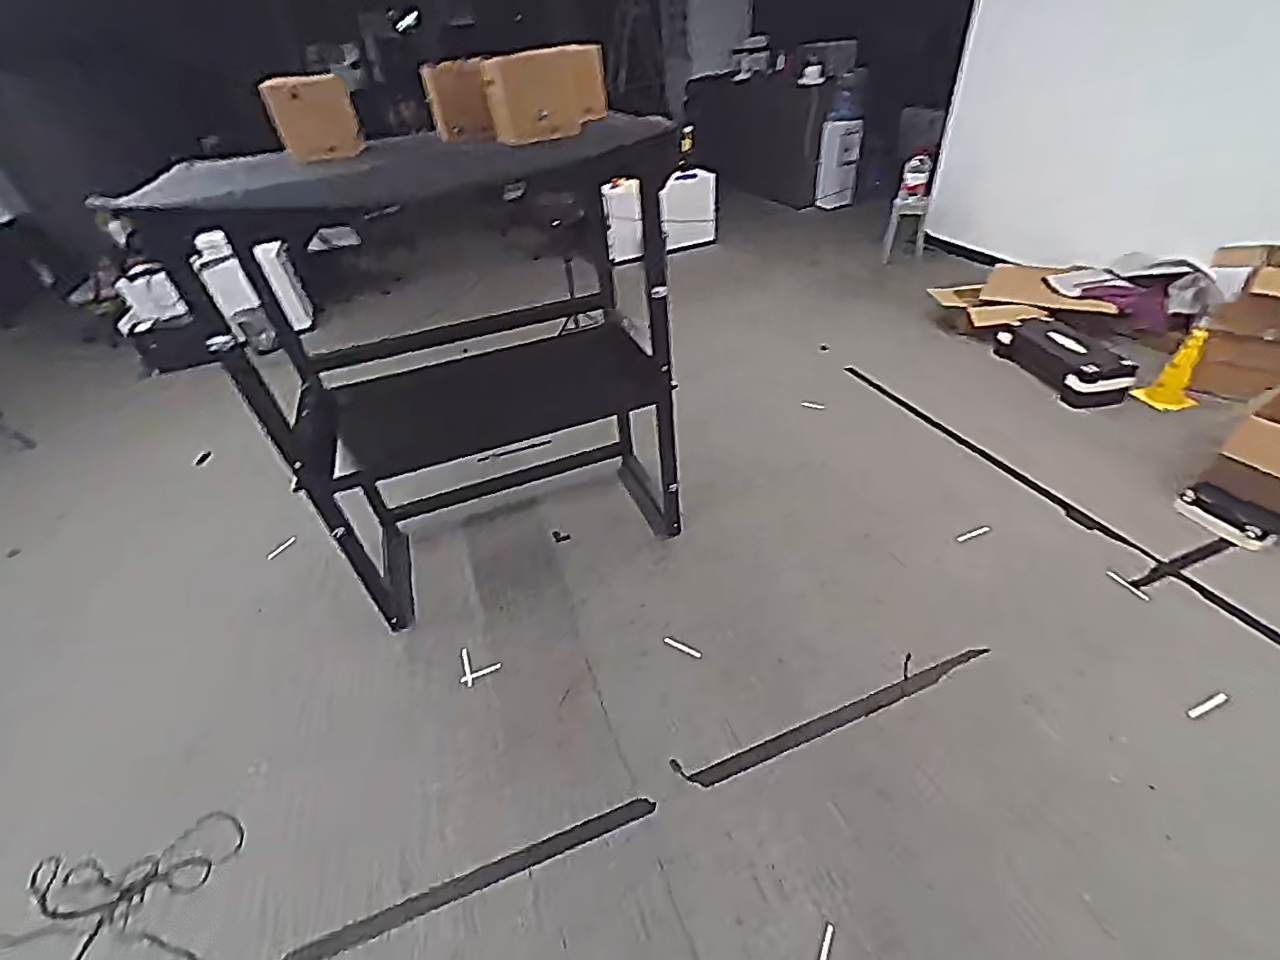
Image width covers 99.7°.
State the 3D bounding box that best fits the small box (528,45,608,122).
[{"bbox_3d":[-0.207,-1.137,1.556,0.168,0.176,0.179,-26,46,-21],"label":"small box"}]

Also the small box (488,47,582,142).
[{"bbox_3d":[-0.253,-0.929,1.309,0.168,0.176,0.179,-20,40,-16],"label":"small box"}]

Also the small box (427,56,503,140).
[{"bbox_3d":[-0.464,-1.040,1.475,0.168,0.176,0.179,-18,40,-15],"label":"small box"}]

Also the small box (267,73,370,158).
[{"bbox_3d":[-0.826,-0.950,1.410,0.168,0.176,0.179,-14,40,-10],"label":"small box"}]
